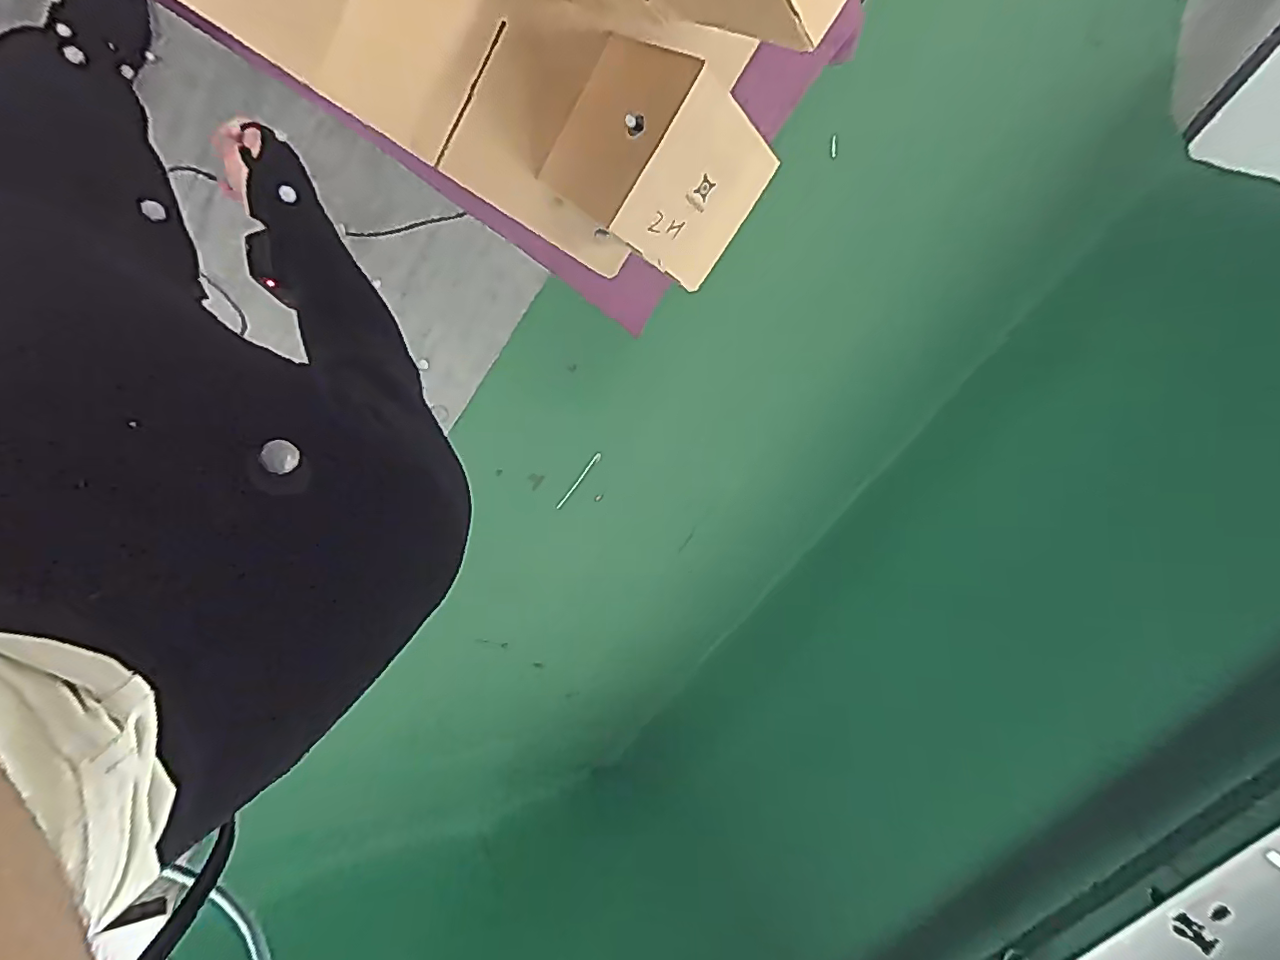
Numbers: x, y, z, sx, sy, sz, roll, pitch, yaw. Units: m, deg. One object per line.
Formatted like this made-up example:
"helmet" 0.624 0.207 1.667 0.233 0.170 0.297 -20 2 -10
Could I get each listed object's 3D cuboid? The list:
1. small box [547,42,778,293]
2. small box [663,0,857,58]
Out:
"small box" 0.020 -0.361 0.634 0.168 0.176 0.179 14 119 -51
"small box" 0.075 -0.418 0.327 0.168 0.176 0.179 11 122 -51
